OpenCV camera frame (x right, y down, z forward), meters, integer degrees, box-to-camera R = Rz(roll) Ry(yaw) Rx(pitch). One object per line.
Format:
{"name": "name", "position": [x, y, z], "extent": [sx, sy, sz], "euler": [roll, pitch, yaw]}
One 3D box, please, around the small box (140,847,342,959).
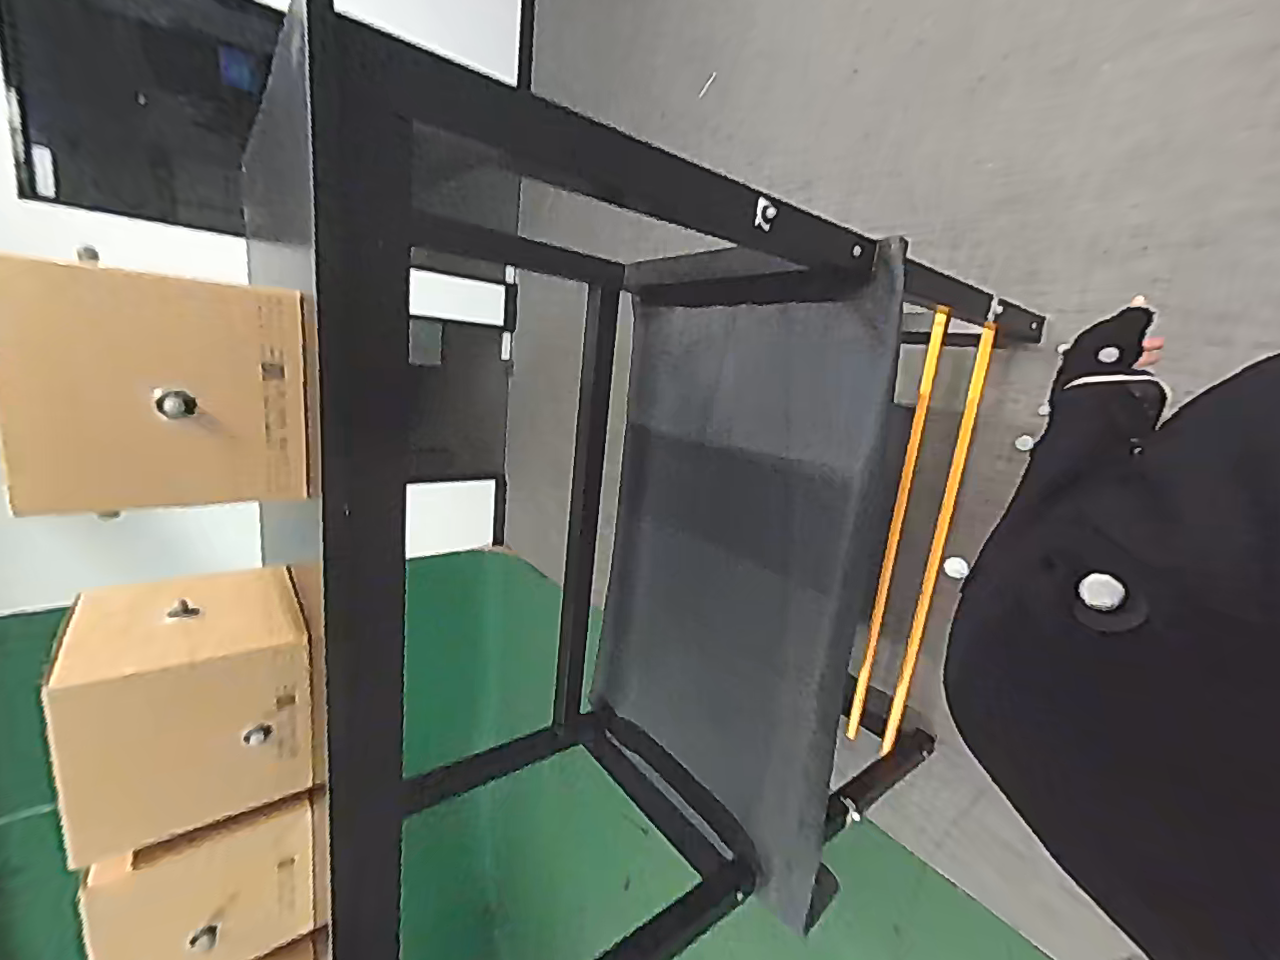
{"name": "small box", "position": [-0.456, 0.569, 0.623], "extent": [0.179, 0.176, 0.168], "euler": [23, 111, 48]}

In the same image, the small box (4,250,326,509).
{"name": "small box", "position": [-0.368, -0.085, 0.450], "extent": [0.179, 0.176, 0.168], "euler": [22, 110, 49]}
